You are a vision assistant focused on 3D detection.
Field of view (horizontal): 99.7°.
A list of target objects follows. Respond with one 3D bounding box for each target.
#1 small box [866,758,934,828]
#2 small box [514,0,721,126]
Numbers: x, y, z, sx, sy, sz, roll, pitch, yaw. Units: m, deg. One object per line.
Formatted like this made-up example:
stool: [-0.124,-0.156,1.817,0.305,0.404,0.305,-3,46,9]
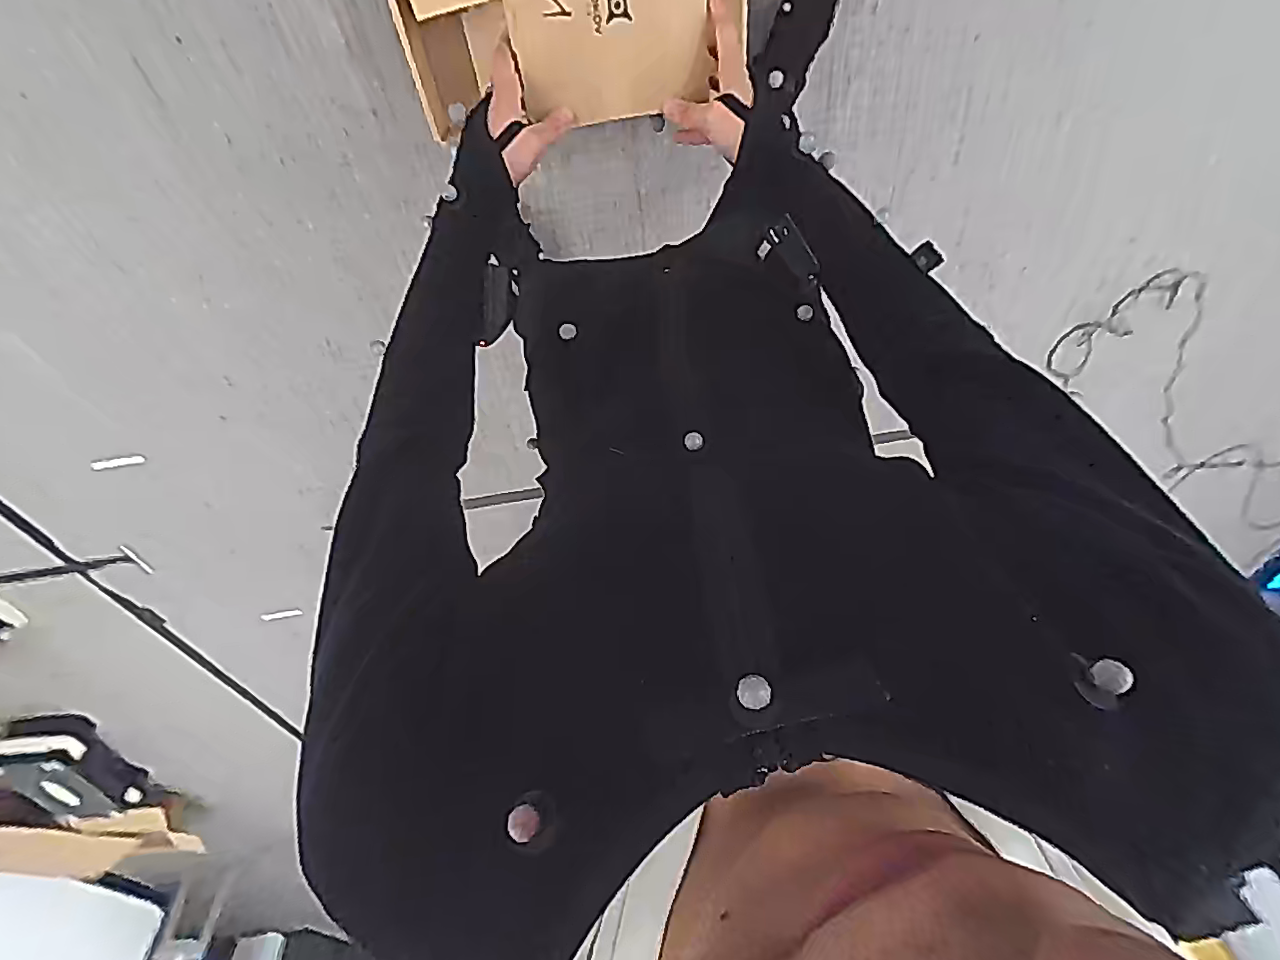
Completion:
small box: [0.955,1.159,2.005,0.168,0.176,0.179,-14,131,3]
small box: [-0.028,-0.454,0.518,0.179,0.176,0.168,-9,127,-1]
